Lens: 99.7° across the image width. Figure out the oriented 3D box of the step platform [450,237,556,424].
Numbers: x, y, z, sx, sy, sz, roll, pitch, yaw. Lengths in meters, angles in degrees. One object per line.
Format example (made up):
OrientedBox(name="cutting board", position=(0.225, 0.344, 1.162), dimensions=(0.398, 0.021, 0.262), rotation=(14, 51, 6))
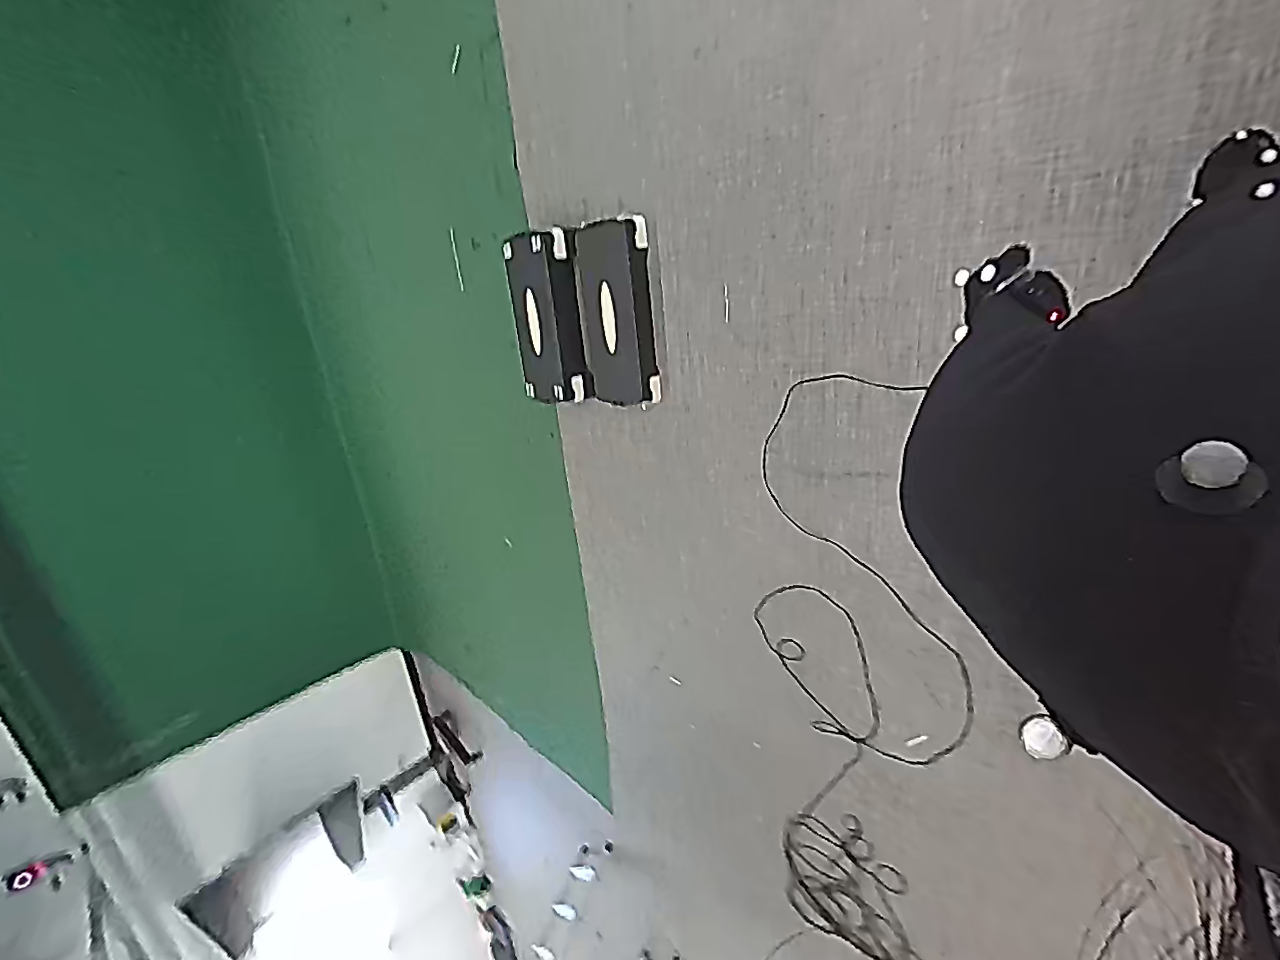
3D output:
OrientedBox(name="step platform", position=(-0.526, -0.575, 2.111), dimensions=(0.286, 0.204, 0.684), rotation=(12, 117, 42))
